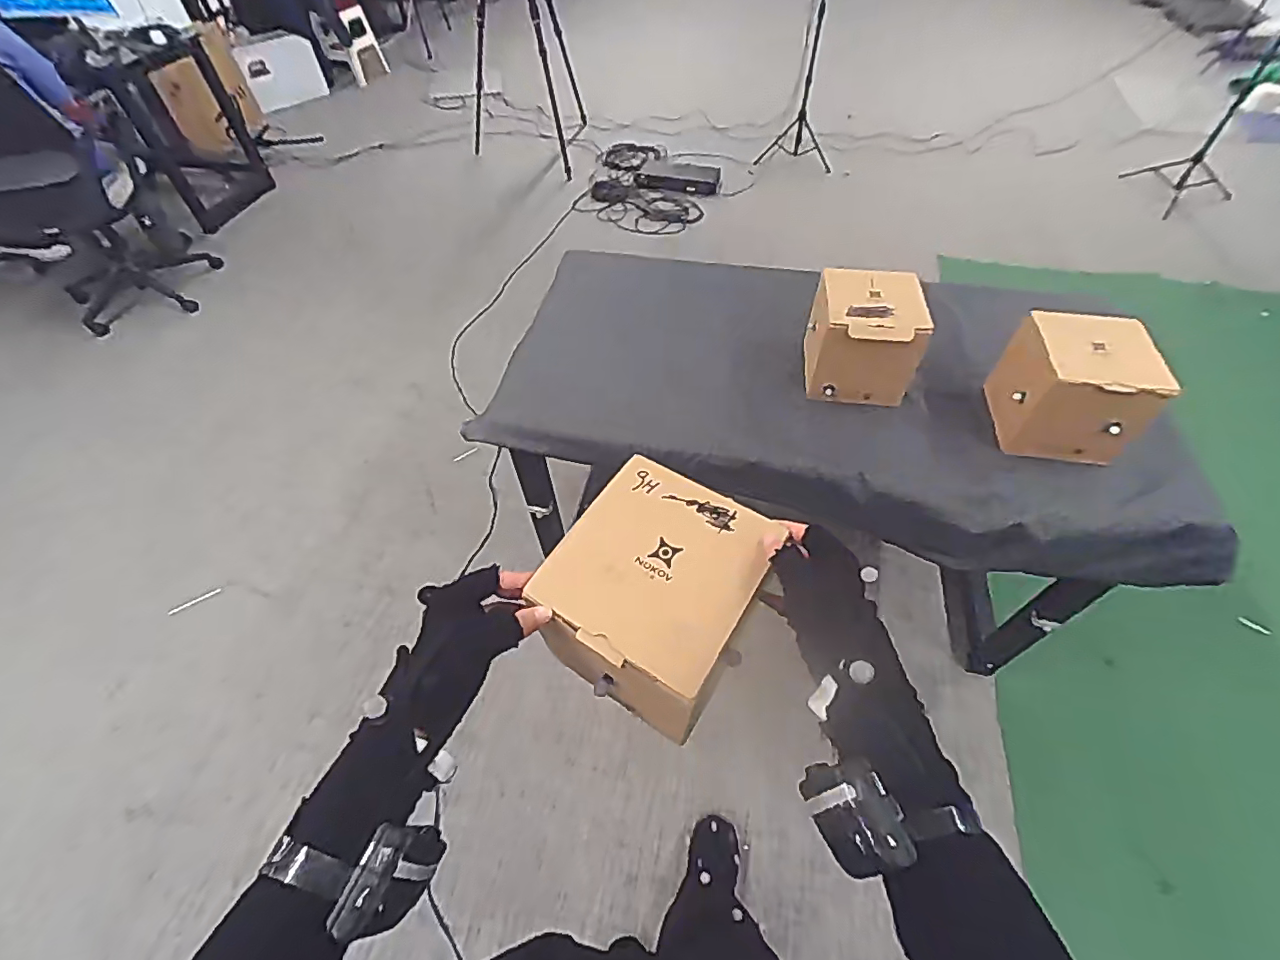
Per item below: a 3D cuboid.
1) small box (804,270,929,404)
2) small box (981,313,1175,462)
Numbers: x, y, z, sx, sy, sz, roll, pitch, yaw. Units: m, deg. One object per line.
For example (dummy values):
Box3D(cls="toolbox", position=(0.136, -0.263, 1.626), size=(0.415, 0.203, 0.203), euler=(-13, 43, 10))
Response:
Box3D(cls="small box", position=(0.400, -0.259, 0.988), size=(0.168, 0.176, 0.179), euler=(6, 52, 6))
Box3D(cls="small box", position=(0.702, -0.150, 0.894), size=(0.168, 0.176, 0.179), euler=(8, 51, 7))
